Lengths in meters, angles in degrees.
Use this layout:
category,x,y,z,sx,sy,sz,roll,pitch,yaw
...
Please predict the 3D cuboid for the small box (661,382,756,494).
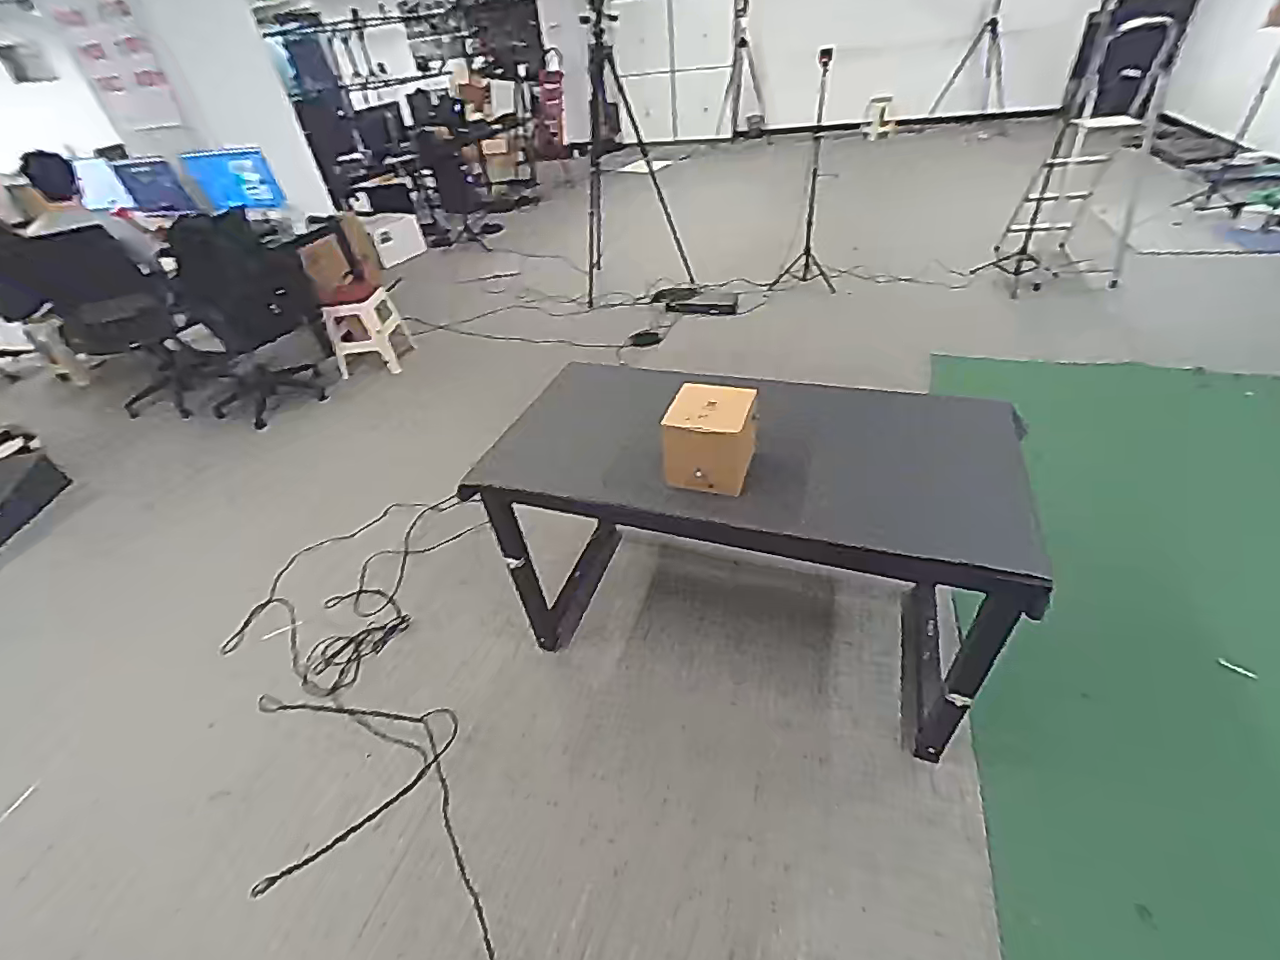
category,x,y,z,sx,sy,sz,roll,pitch,yaw
small box,0.154,-0.095,1.191,0.168,0.176,0.179,9,42,20
